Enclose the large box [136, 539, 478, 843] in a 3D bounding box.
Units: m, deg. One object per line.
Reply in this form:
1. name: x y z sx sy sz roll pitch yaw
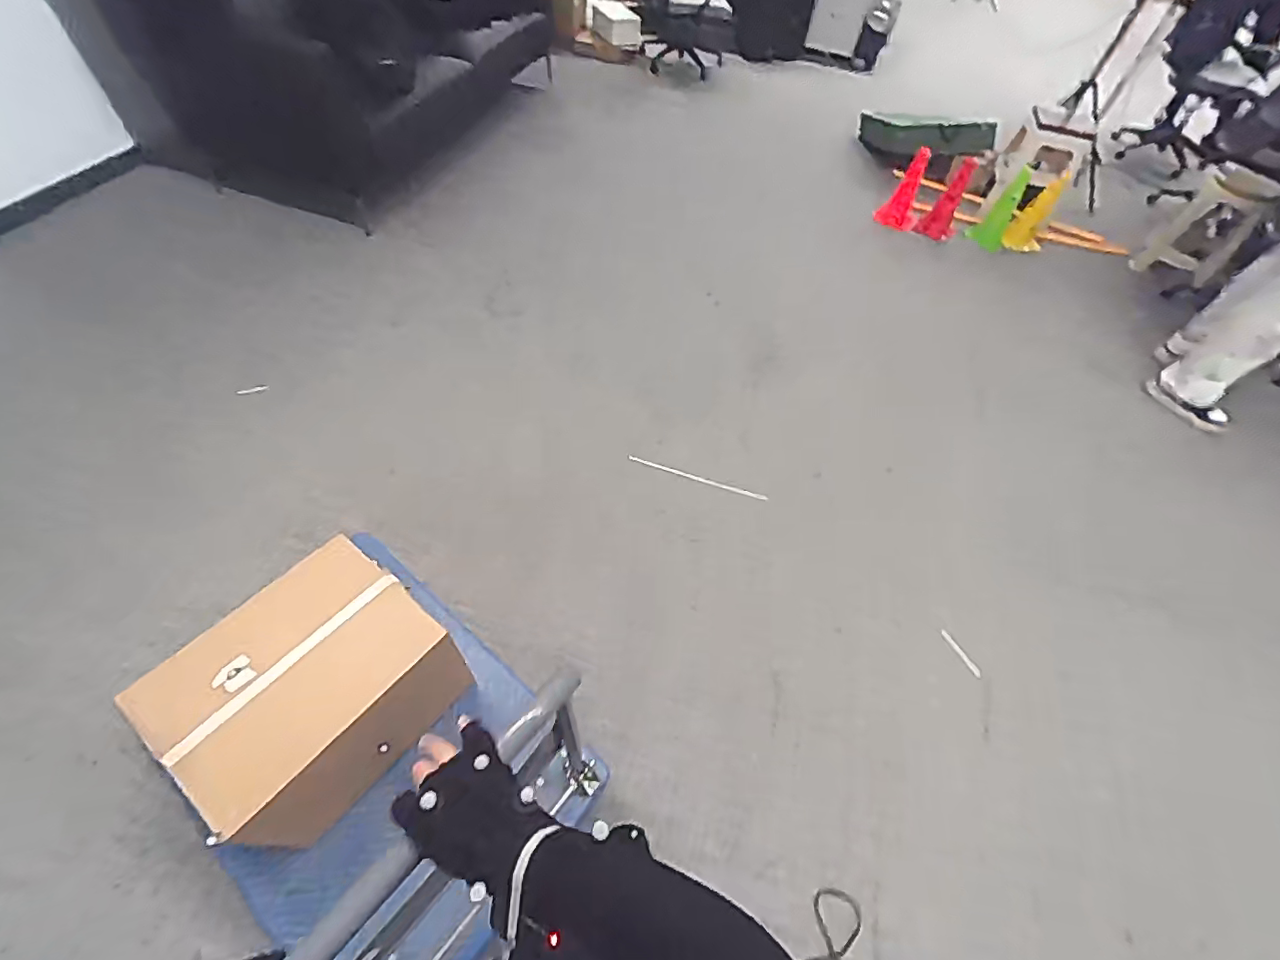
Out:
1. large box: -0.582 0.400 1.039 0.320 0.320 0.408 35 59 18
